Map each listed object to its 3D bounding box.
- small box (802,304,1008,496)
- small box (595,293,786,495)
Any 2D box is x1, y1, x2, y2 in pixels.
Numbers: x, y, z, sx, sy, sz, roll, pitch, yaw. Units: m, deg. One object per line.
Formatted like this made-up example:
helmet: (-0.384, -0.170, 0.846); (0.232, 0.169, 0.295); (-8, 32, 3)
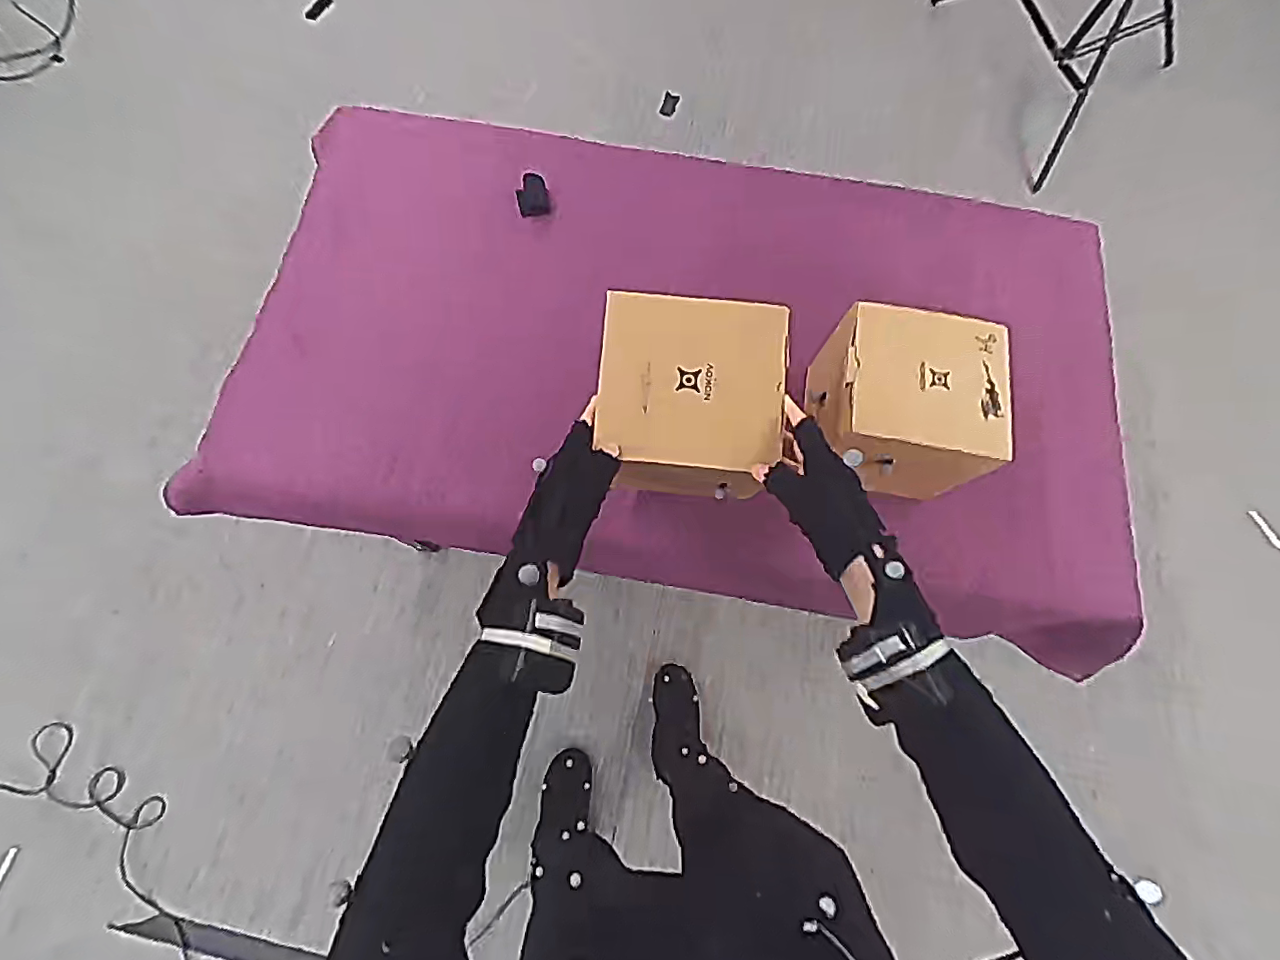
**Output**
small box: (0.311, -0.087, 0.667); (0.179, 0.176, 0.168); (9, 73, 1)
small box: (0.050, -0.080, 0.589); (0.179, 0.176, 0.168); (4, 78, 1)
